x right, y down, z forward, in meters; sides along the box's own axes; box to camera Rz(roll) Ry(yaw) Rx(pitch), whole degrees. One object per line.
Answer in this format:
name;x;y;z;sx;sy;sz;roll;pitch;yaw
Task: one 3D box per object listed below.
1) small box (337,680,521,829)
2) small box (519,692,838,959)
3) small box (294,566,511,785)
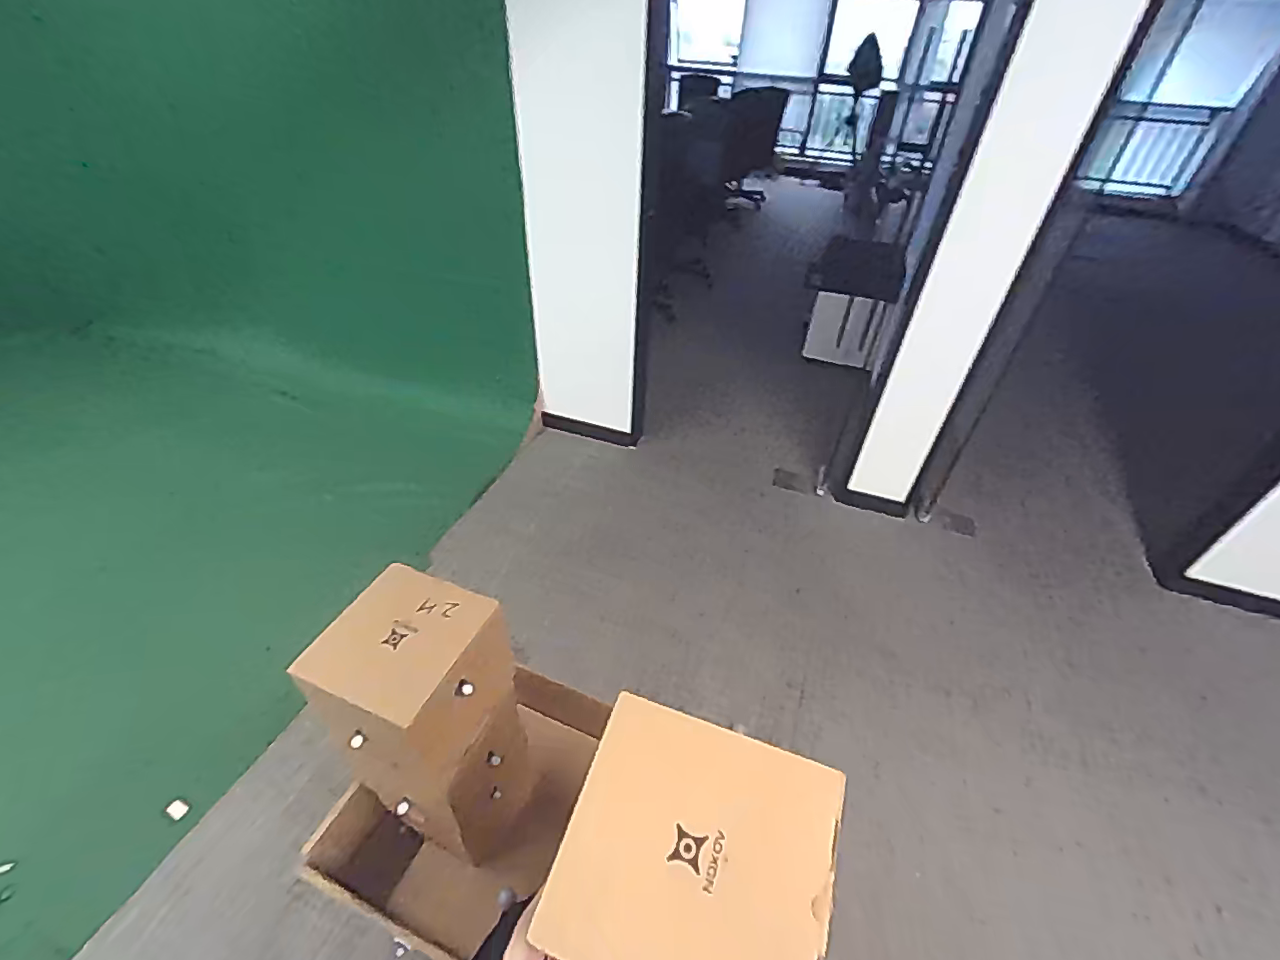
small box;-0.291;0.375;0.792;0.179;0.176;0.168;16;41;15
small box;0.038;0.297;0.420;0.179;0.176;0.168;14;54;16
small box;-0.280;0.248;0.687;0.168;0.176;0.179;17;42;16
